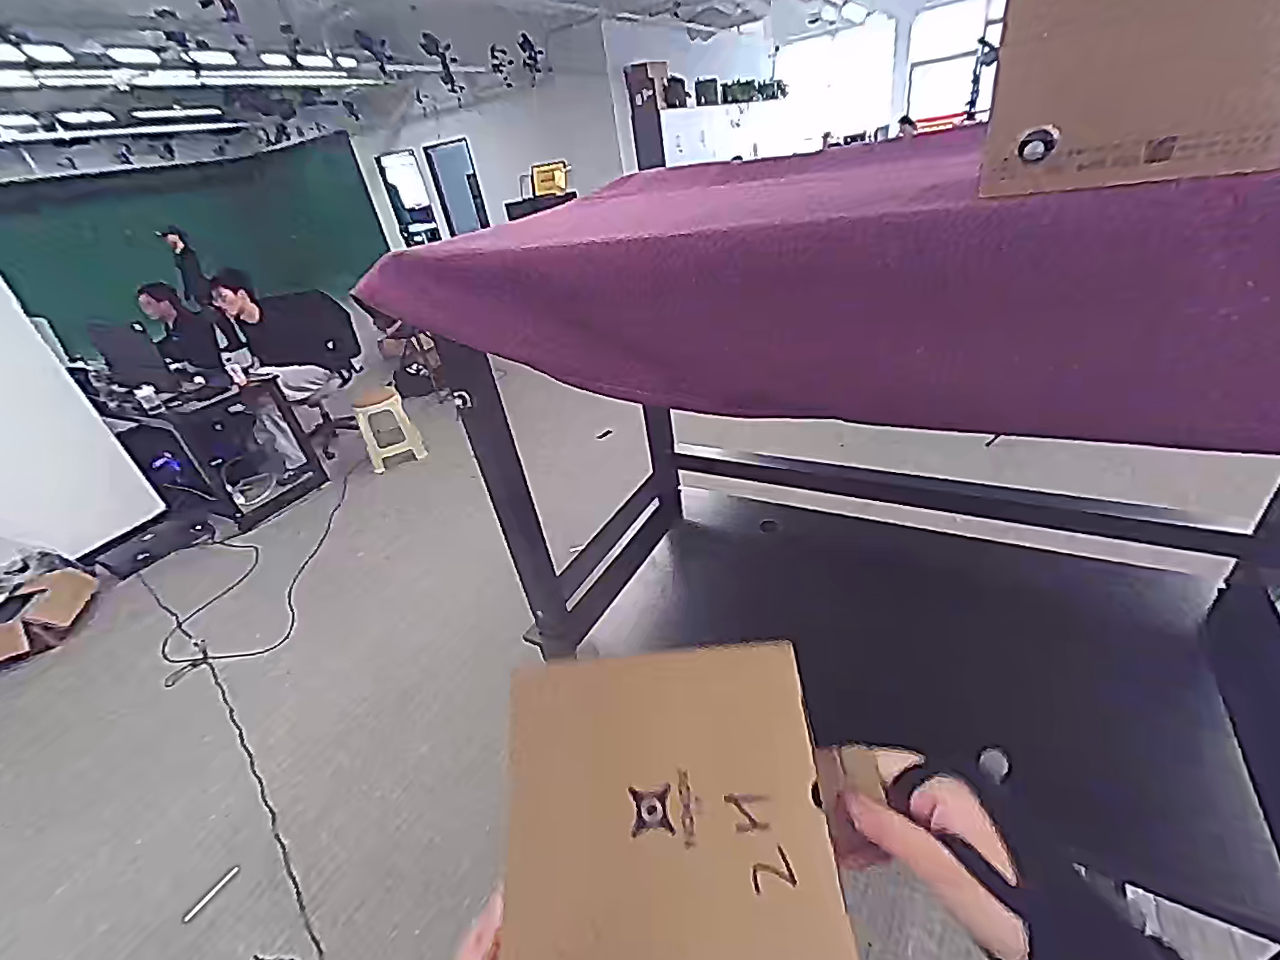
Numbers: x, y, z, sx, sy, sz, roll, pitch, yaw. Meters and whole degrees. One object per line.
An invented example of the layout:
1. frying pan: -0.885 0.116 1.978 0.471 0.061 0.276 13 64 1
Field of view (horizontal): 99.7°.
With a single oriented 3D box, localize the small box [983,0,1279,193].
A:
1. small box: 0.362 -0.316 0.394 0.168 0.176 0.179 10 35 30
